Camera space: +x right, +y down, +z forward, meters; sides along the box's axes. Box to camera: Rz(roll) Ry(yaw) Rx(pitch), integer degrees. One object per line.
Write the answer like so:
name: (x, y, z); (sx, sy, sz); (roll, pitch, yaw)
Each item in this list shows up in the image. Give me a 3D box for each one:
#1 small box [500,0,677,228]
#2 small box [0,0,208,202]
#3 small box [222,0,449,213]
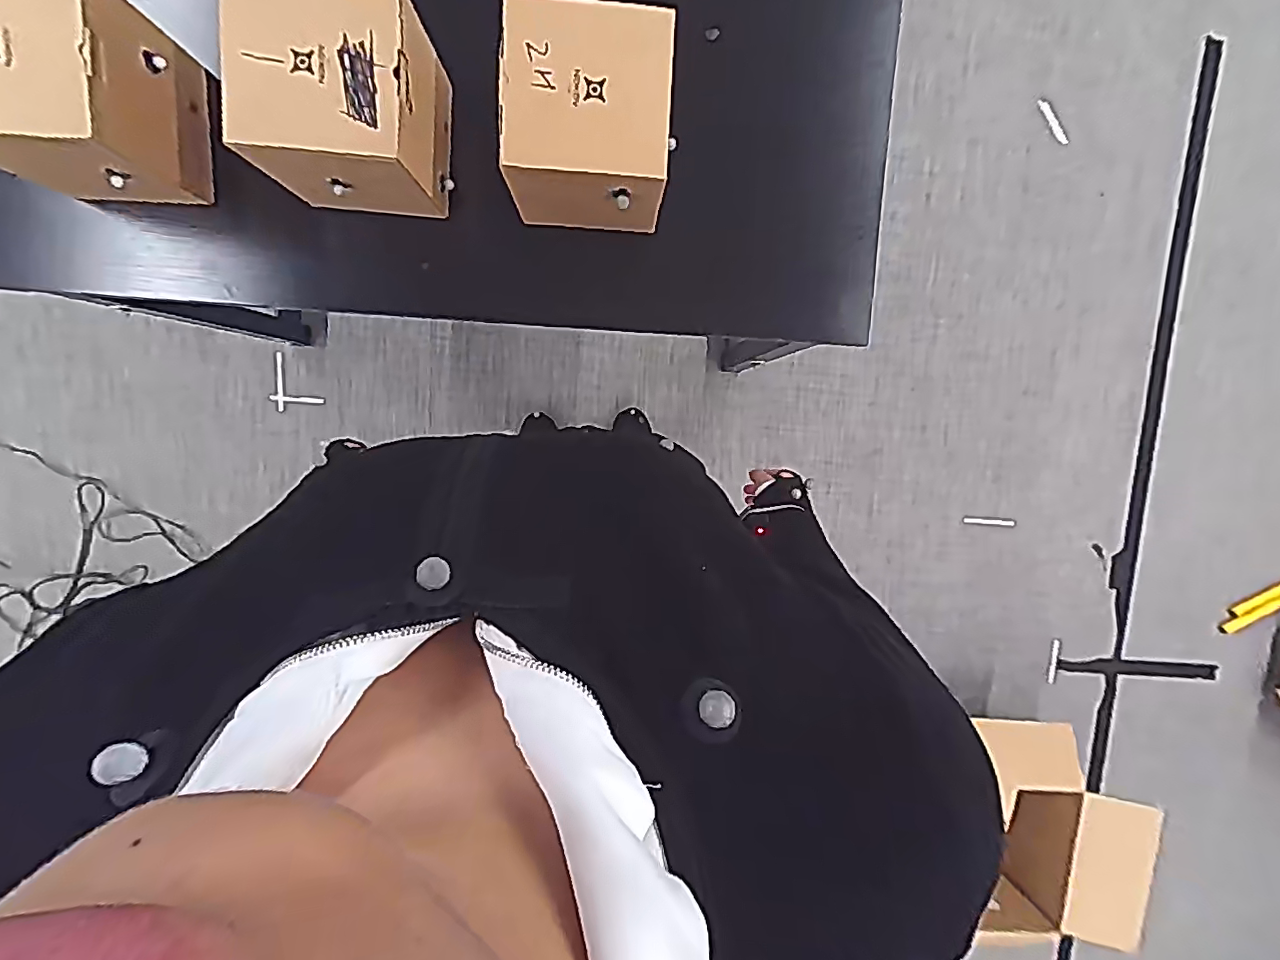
small box: (-0.058, -0.409, 0.632); (0.179, 0.176, 0.168); (3, 96, -3)
small box: (-0.622, -0.428, 0.601); (0.179, 0.176, 0.168); (0, 96, -3)
small box: (-0.328, -0.422, 0.616); (0.179, 0.176, 0.168); (4, 96, -3)
